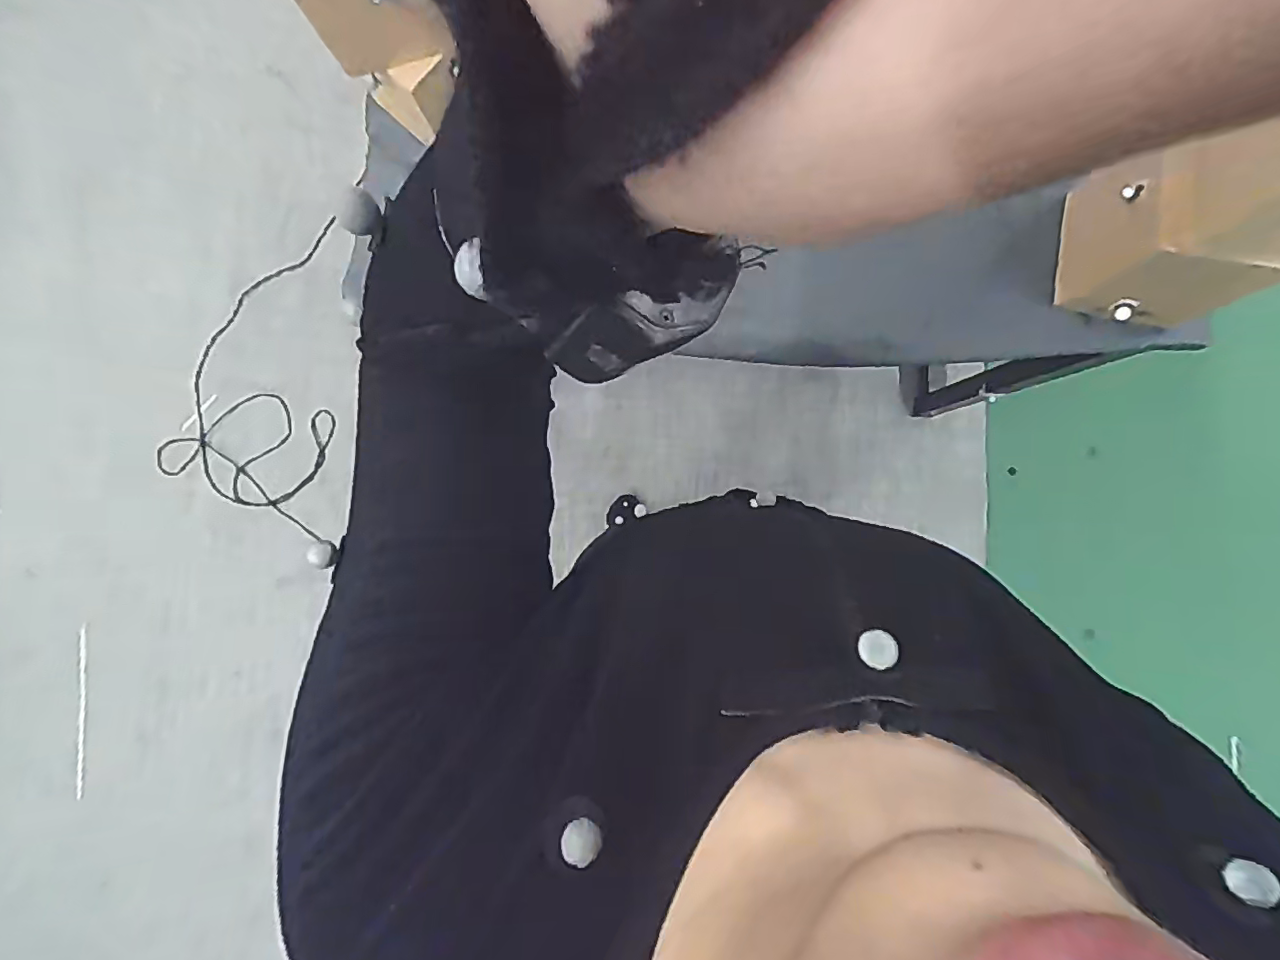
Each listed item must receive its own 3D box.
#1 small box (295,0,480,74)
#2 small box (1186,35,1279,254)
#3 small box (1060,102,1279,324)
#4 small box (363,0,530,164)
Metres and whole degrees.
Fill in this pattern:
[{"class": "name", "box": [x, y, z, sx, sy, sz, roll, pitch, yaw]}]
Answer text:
[{"class": "small box", "box": [-0.280, -0.573, 0.553, 0.179, 0.176, 0.168, -17, 89, 1]}, {"class": "small box", "box": [0.681, -0.333, 0.514, 0.168, 0.176, 0.179, 8, 84, 3]}, {"class": "small box", "box": [0.672, -0.319, 0.676, 0.168, 0.176, 0.179, 10, 86, 4]}, {"class": "small box", "box": [-0.275, -0.572, 0.718, 0.179, 0.176, 0.168, 42, 90, 2]}]
